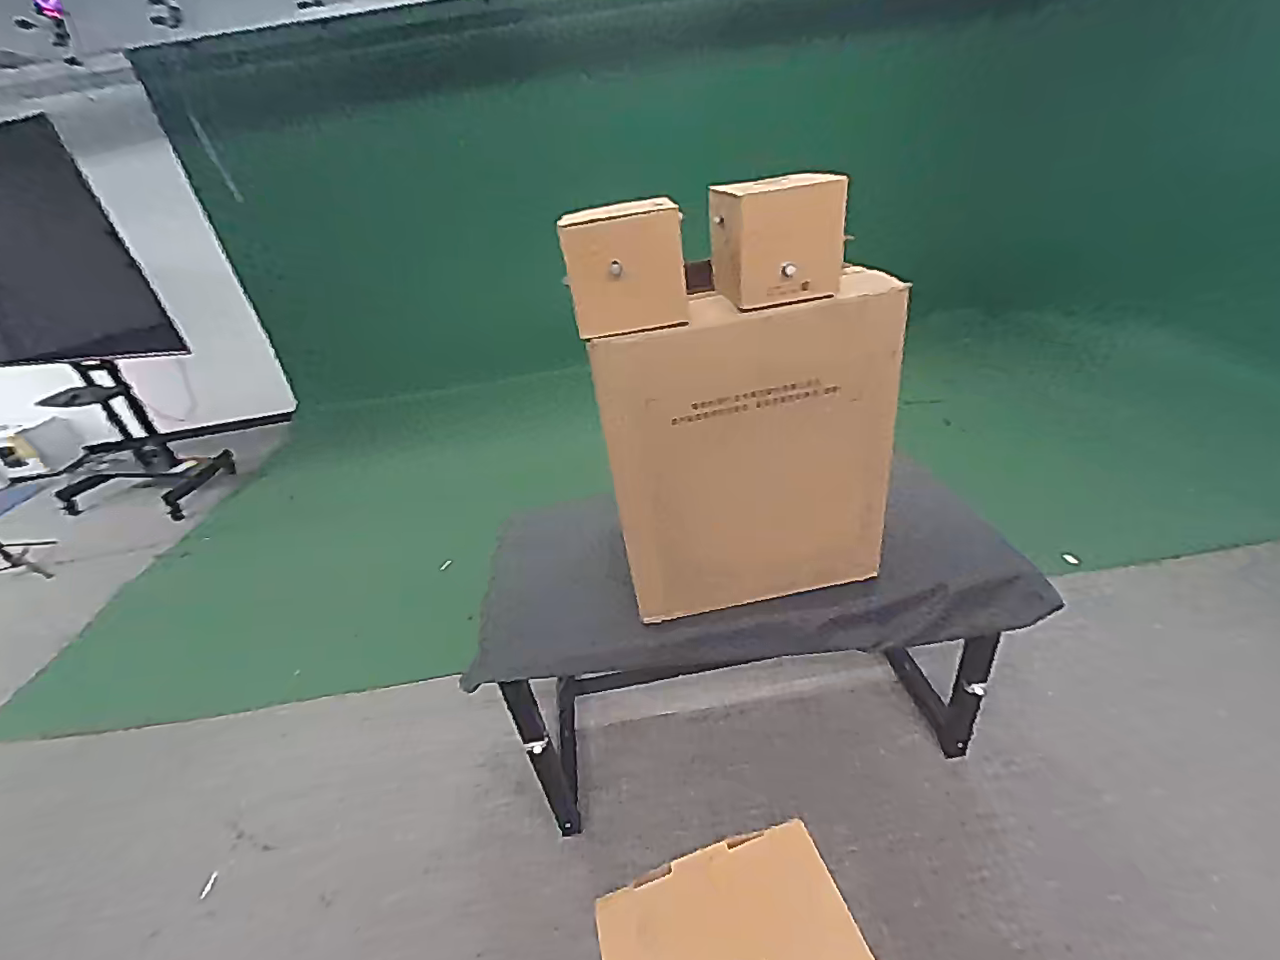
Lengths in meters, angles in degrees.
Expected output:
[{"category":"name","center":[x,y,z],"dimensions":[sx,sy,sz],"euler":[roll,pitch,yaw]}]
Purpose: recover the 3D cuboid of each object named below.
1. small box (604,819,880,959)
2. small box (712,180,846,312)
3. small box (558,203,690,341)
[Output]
[{"category":"small box","center":[0.081,0.386,0.371],"dimensions":[0.168,0.176,0.179],"euler":[-15,34,-10]},{"category":"small box","center":[0.220,-0.389,0.897],"dimensions":[0.168,0.176,0.179],"euler":[-11,32,-3]},{"category":"small box","center":[-0.023,-0.337,0.879],"dimensions":[0.179,0.176,0.168],"euler":[-10,32,1]}]
